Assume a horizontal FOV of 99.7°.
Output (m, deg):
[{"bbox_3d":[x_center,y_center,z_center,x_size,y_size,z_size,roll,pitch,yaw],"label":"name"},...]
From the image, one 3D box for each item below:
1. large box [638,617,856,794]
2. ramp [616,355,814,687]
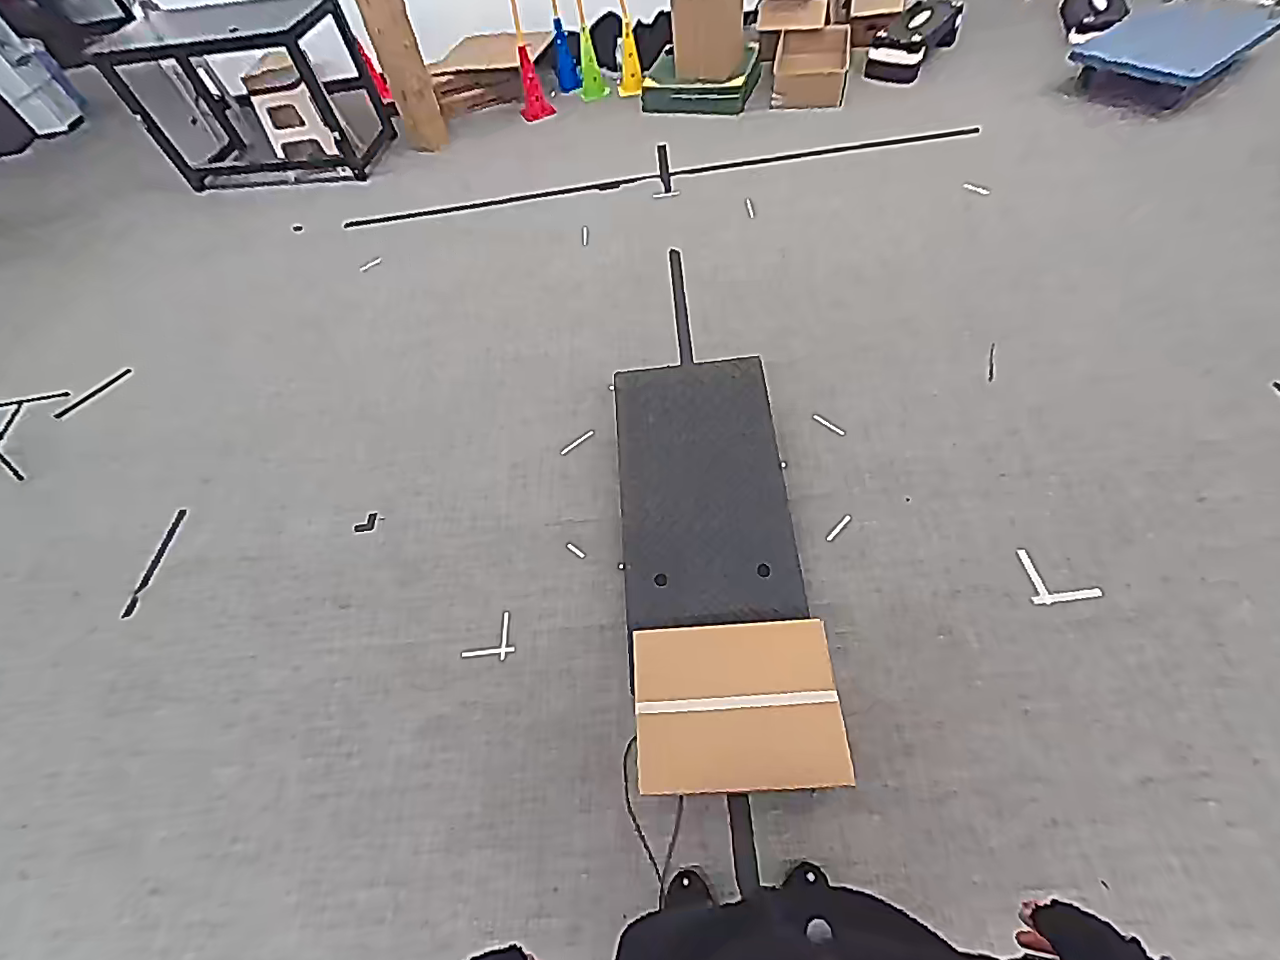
[{"bbox_3d":[0.219,0.518,1.222,0.408,0.320,0.320,-6,59,5],"label":"large box"},{"bbox_3d":[0.198,0.069,1.605,0.509,0.206,0.991,-7,56,2],"label":"ramp"}]
